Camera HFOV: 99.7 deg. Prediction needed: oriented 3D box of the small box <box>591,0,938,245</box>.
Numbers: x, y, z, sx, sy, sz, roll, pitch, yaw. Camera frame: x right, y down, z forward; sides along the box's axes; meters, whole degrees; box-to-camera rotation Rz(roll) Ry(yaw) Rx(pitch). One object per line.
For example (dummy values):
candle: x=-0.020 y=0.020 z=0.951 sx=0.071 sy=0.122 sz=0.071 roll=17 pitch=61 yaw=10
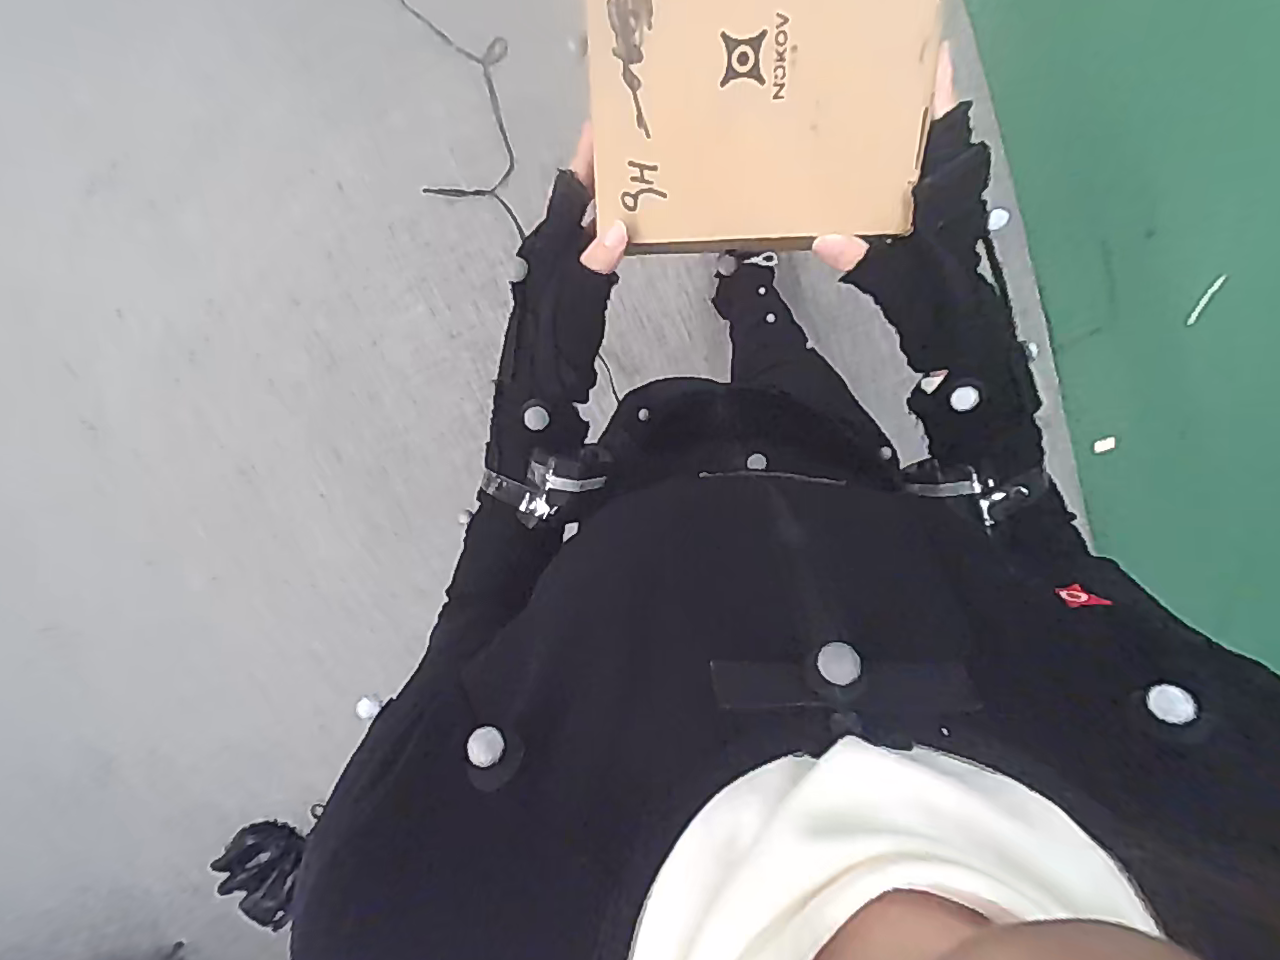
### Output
small box: x=0.063 y=-0.249 z=0.350 sx=0.179 sy=0.176 sz=0.168 roll=-2 pitch=109 yaw=2
